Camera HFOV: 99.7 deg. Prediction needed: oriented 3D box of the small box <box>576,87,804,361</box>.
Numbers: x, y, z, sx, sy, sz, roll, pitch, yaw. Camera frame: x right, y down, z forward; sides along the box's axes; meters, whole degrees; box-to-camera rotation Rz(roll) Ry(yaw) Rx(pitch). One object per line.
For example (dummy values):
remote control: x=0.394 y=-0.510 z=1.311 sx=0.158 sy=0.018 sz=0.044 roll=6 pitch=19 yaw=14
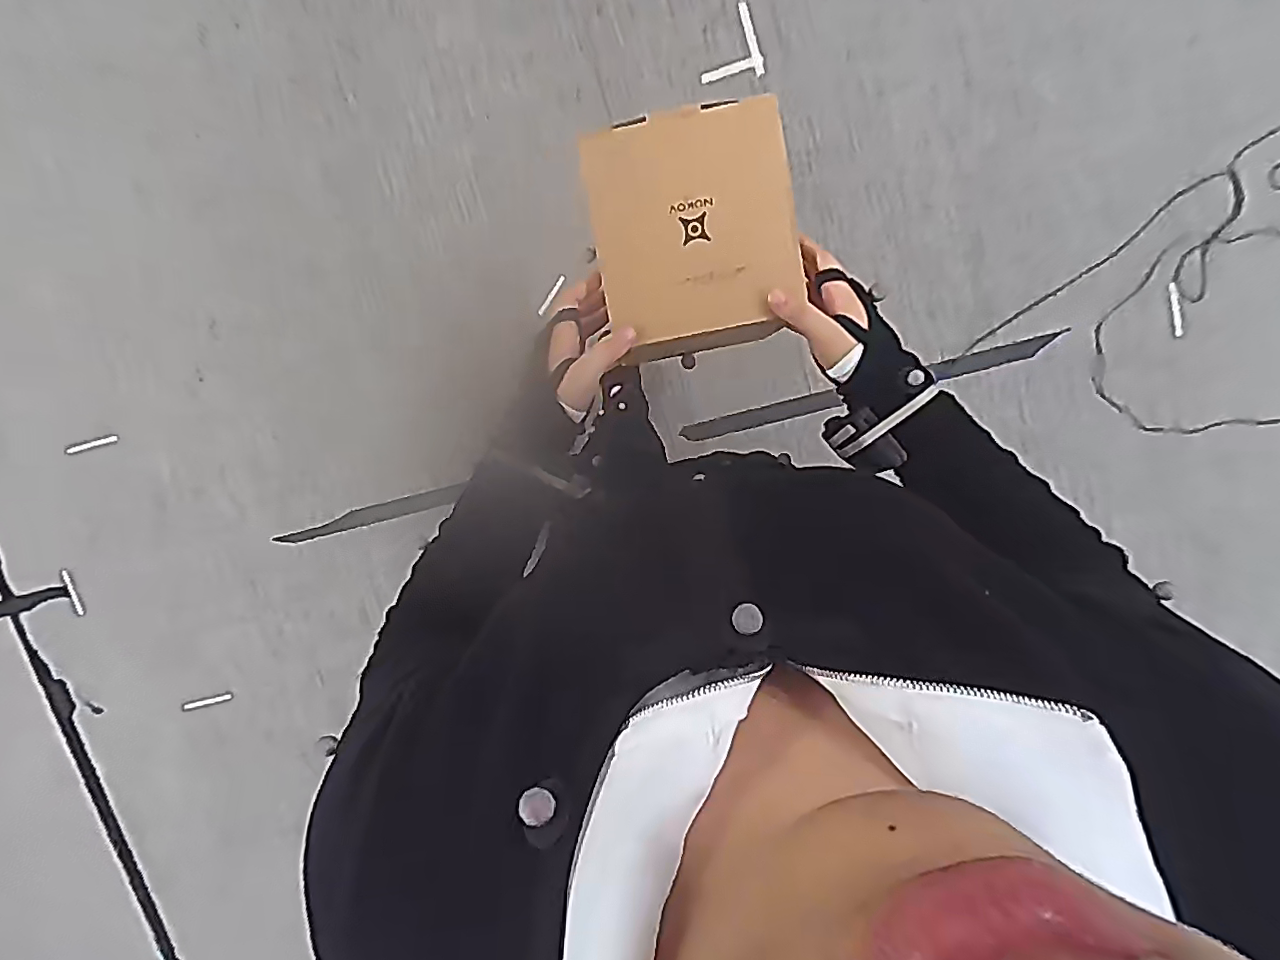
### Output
small box: x=0.042 y=-0.223 z=0.519 sx=0.168 sy=0.176 sz=0.179 roll=-11 pitch=97 yaw=2
